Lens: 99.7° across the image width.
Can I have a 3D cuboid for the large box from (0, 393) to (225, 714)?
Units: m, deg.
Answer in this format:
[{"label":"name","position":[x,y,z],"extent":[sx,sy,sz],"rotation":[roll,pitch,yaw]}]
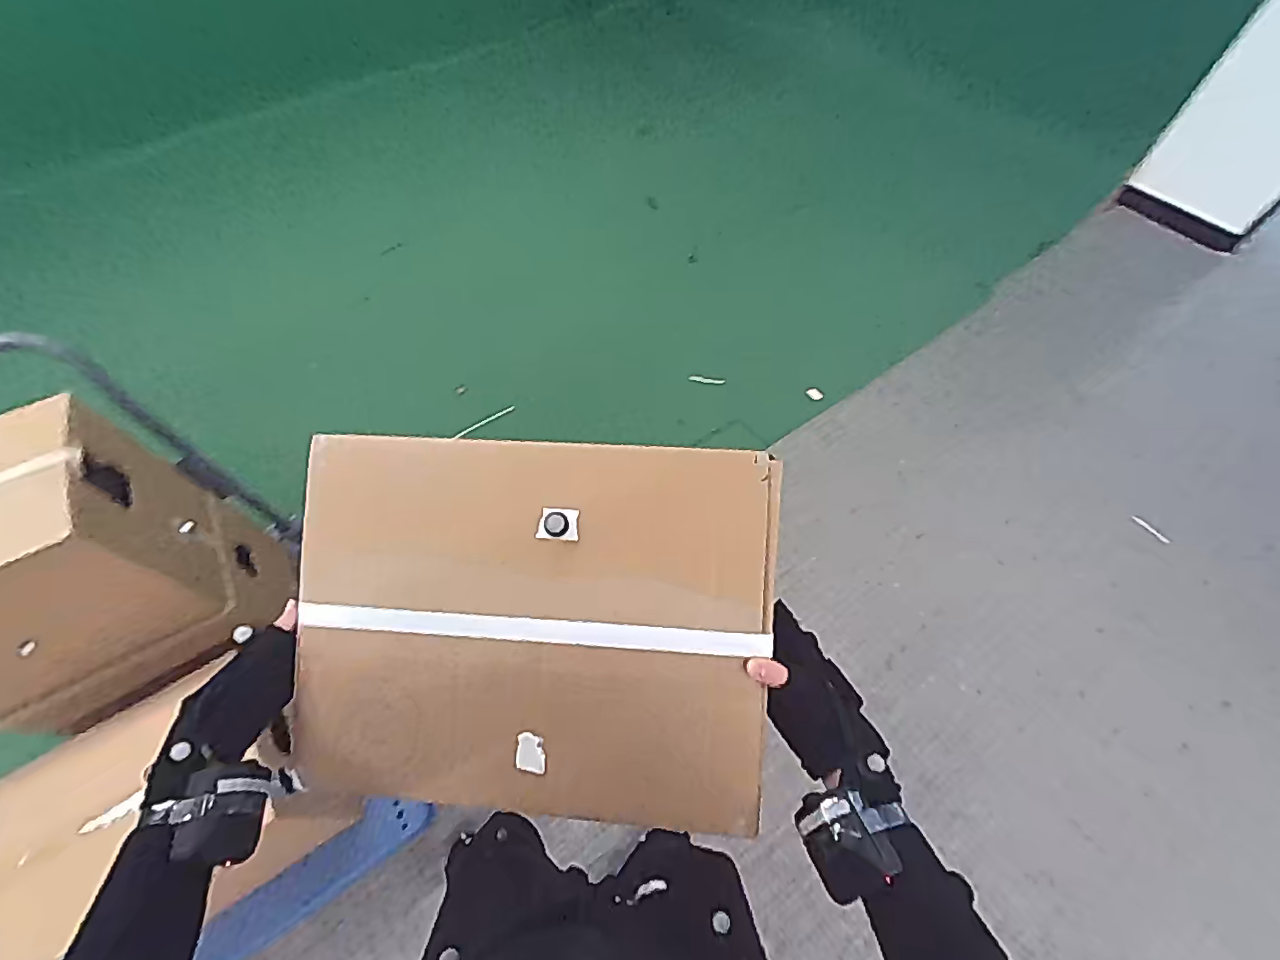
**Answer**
[{"label":"large box","position":[-1.019,0.133,0.898],"extent":[0.408,0.320,0.320],"rotation":[-28,61,-13]}]
